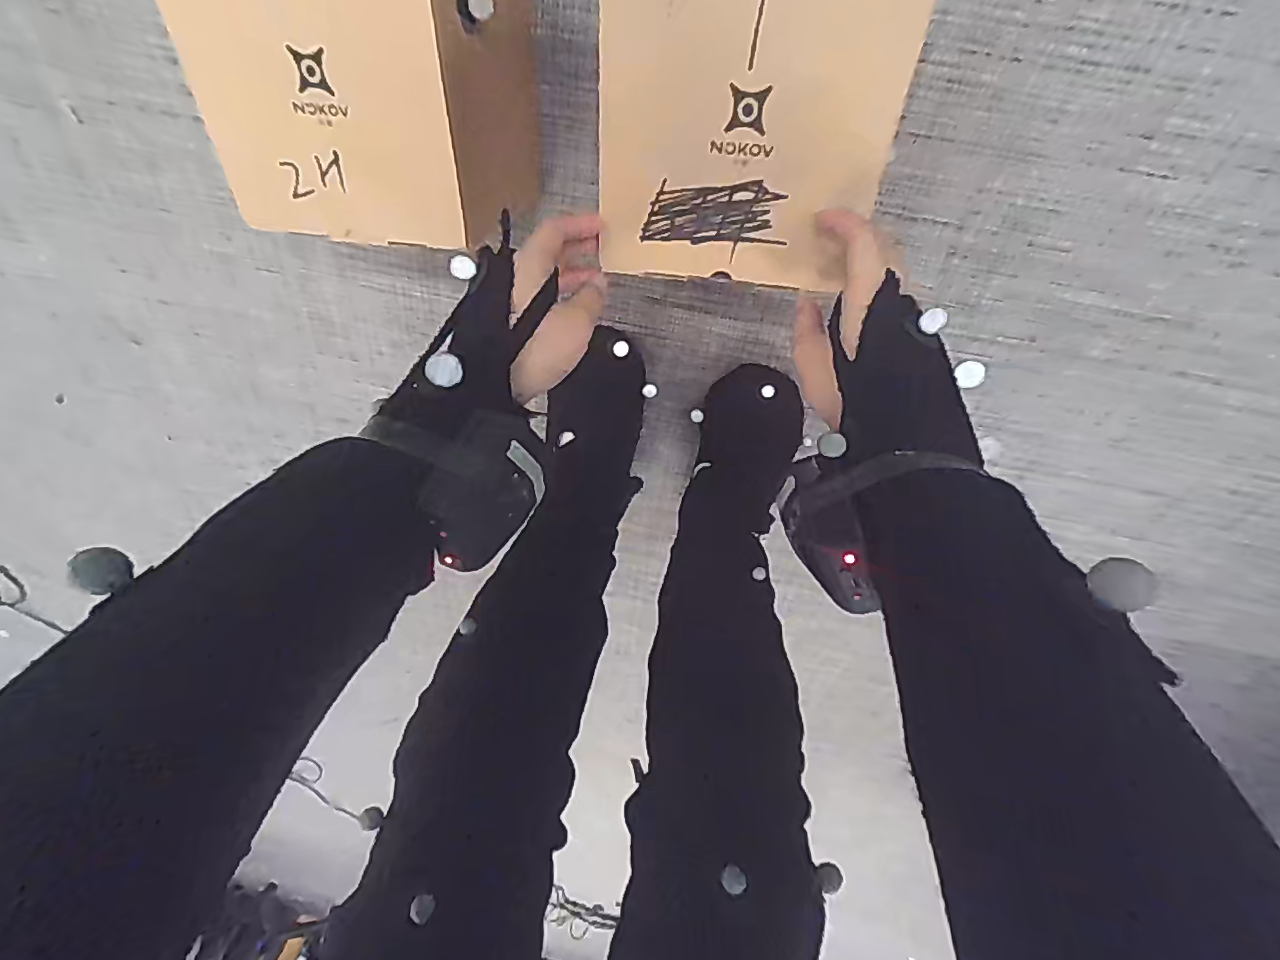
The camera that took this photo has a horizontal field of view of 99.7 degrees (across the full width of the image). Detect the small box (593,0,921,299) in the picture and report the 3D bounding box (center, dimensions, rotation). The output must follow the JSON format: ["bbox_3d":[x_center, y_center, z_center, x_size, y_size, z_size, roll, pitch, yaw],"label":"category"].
[{"bbox_3d":[0.065,-0.247,0.371,0.168,0.176,0.179,7,129,4],"label":"small box"}]

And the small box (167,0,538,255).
[{"bbox_3d":[-0.180,-0.284,0.390,0.168,0.176,0.179,8,130,6],"label":"small box"}]
